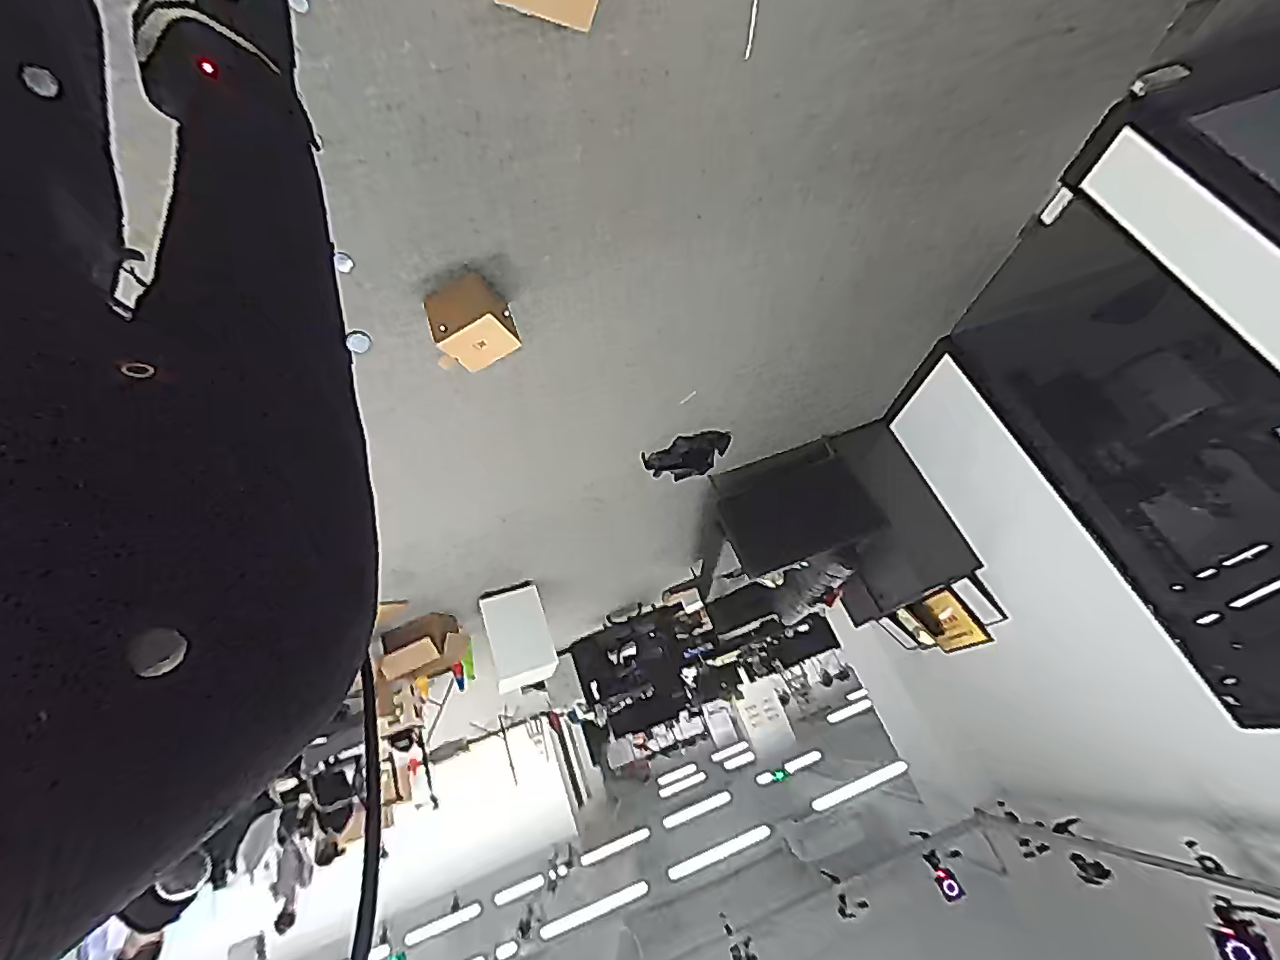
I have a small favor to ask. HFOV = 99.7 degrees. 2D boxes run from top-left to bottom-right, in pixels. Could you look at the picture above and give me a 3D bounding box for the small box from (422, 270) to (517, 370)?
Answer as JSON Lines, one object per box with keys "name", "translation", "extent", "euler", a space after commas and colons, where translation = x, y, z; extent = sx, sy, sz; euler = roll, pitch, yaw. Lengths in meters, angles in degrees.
{"name": "small box", "translation": [-0.475, -0.445, 1.502], "extent": [0.179, 0.176, 0.168], "euler": [-26, 157, 10]}
